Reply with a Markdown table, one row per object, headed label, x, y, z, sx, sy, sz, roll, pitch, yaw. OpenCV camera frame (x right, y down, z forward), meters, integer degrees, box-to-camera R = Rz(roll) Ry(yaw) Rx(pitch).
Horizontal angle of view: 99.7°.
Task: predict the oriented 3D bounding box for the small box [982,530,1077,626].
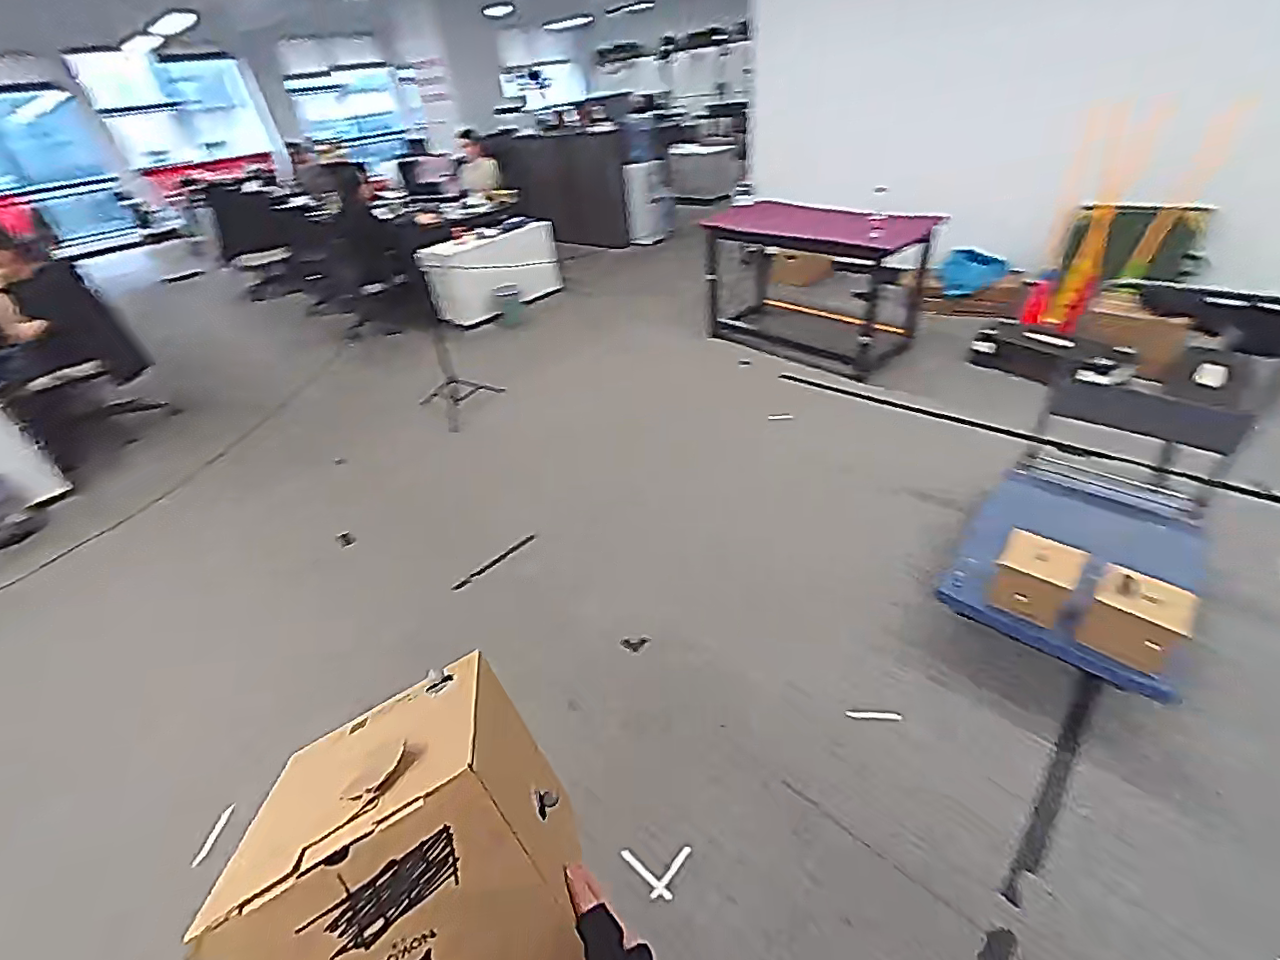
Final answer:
| label | x | y | z | sx | sy | sz | roll | pitch | yaw |
| --- | --- | --- | --- | --- | --- | --- | --- | --- | --- |
| small box | 1.108 | 0.282 | 1.549 | 0.168 | 0.176 | 0.179 | 25 | 46 | 35 |
